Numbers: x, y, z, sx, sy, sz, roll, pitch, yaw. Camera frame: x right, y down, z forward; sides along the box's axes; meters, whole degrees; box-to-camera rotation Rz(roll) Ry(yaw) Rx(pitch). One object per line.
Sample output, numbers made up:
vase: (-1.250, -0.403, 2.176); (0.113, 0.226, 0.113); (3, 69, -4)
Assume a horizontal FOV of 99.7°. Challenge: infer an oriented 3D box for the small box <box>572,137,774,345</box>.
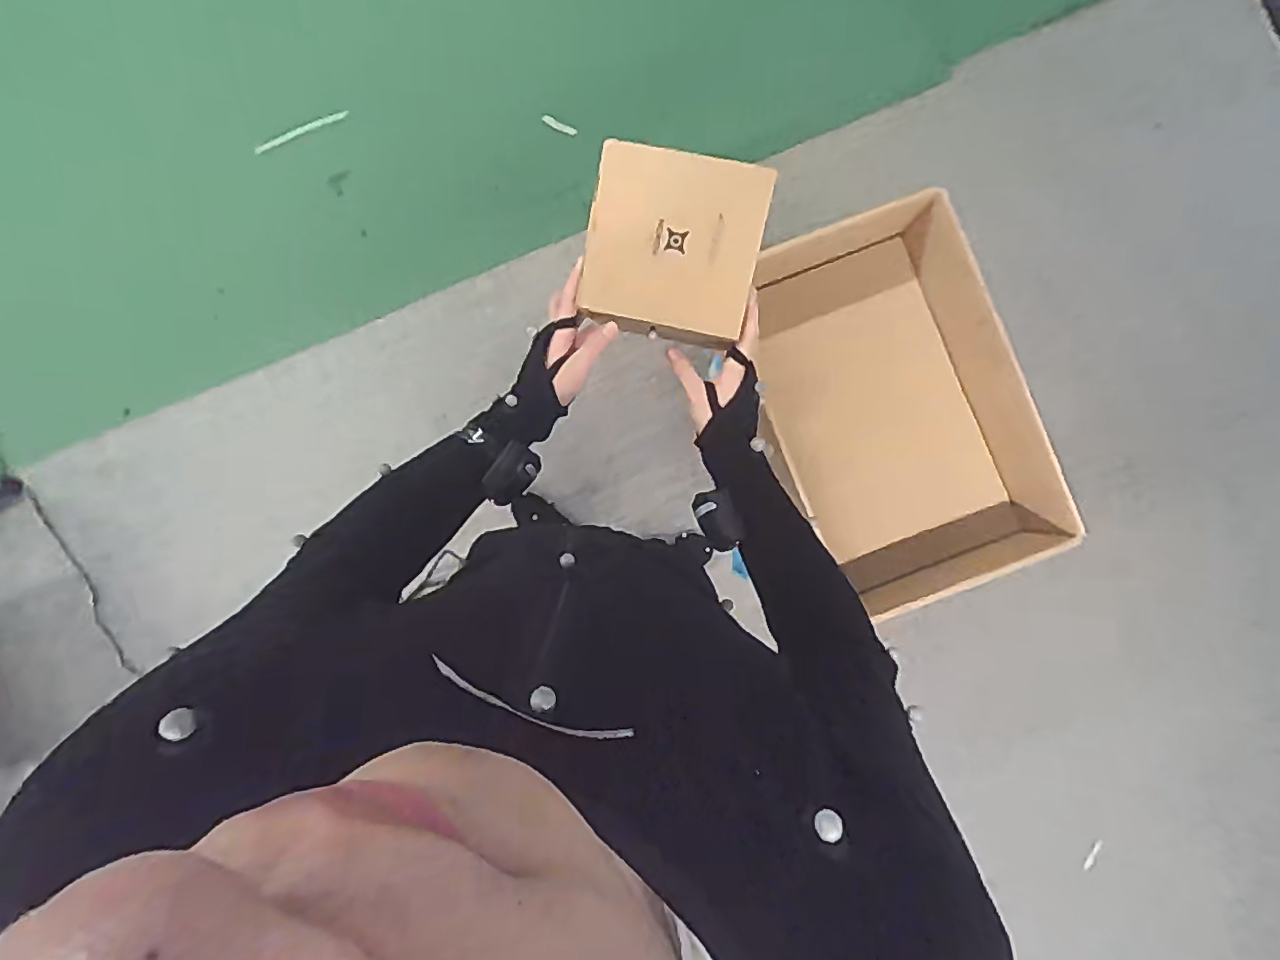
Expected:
small box: (0.038, -0.256, 0.620); (0.179, 0.176, 0.168); (13, 101, 4)
